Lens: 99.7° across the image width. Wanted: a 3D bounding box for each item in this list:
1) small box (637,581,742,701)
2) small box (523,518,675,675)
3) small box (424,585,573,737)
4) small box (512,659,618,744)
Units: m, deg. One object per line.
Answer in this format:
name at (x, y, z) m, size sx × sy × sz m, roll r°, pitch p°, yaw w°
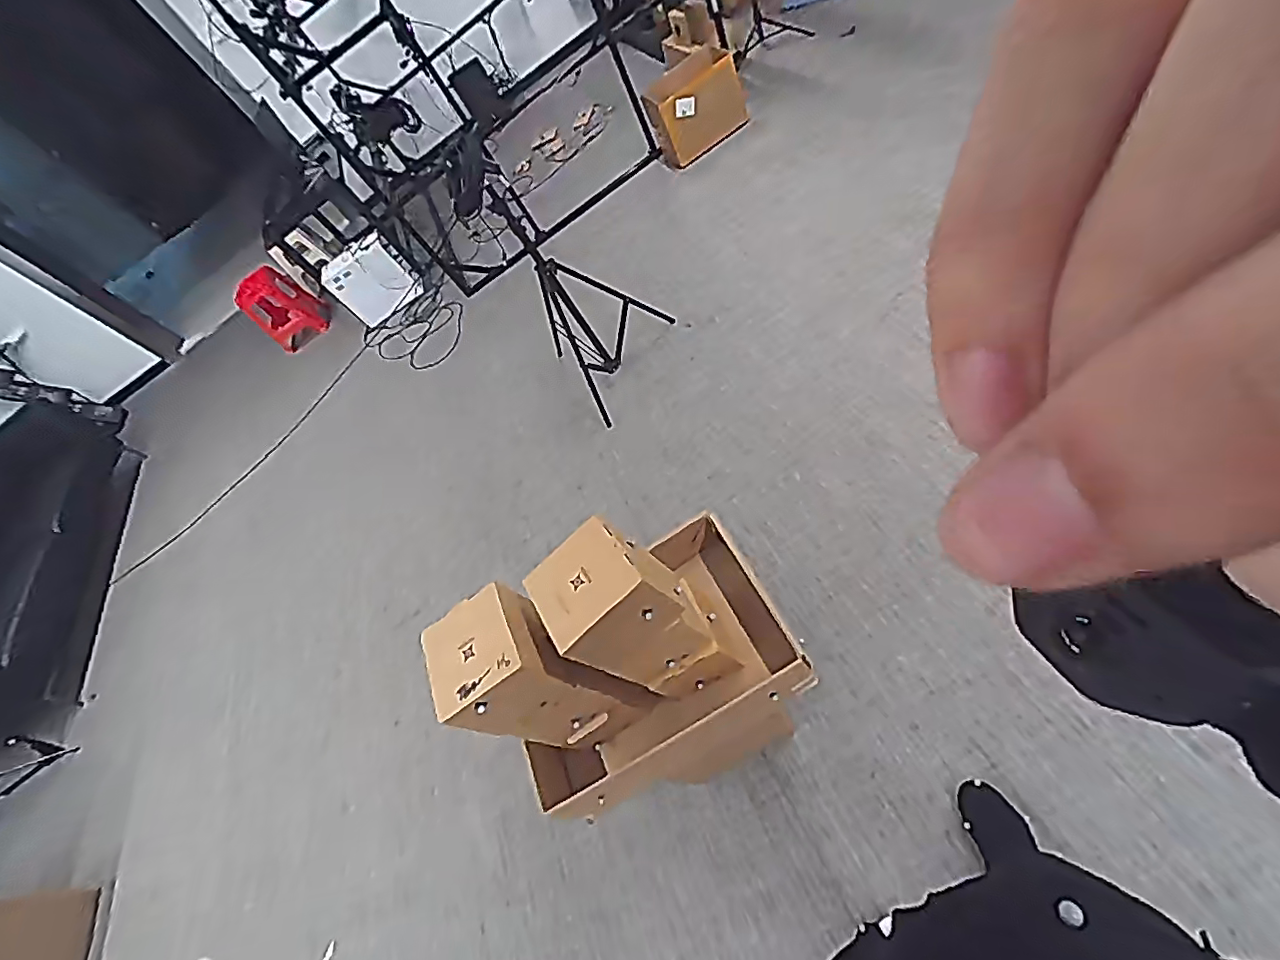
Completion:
small box at (0.094, 0.353, 1.173) m, size 0.168 × 0.176 × 0.179 m, roll -34°, pitch 51°, yaw 10°
small box at (-0.060, 0.202, 0.924) m, size 0.179 × 0.176 × 0.168 m, roll -43°, pitch 49°, yaw 1°
small box at (-0.246, 0.321, 0.948) m, size 0.168 × 0.176 × 0.179 m, roll -37°, pitch 49°, yaw 5°
small box at (-0.171, 0.398, 1.075) m, size 0.168 × 0.176 × 0.179 m, roll -36°, pitch 51°, yaw 4°
